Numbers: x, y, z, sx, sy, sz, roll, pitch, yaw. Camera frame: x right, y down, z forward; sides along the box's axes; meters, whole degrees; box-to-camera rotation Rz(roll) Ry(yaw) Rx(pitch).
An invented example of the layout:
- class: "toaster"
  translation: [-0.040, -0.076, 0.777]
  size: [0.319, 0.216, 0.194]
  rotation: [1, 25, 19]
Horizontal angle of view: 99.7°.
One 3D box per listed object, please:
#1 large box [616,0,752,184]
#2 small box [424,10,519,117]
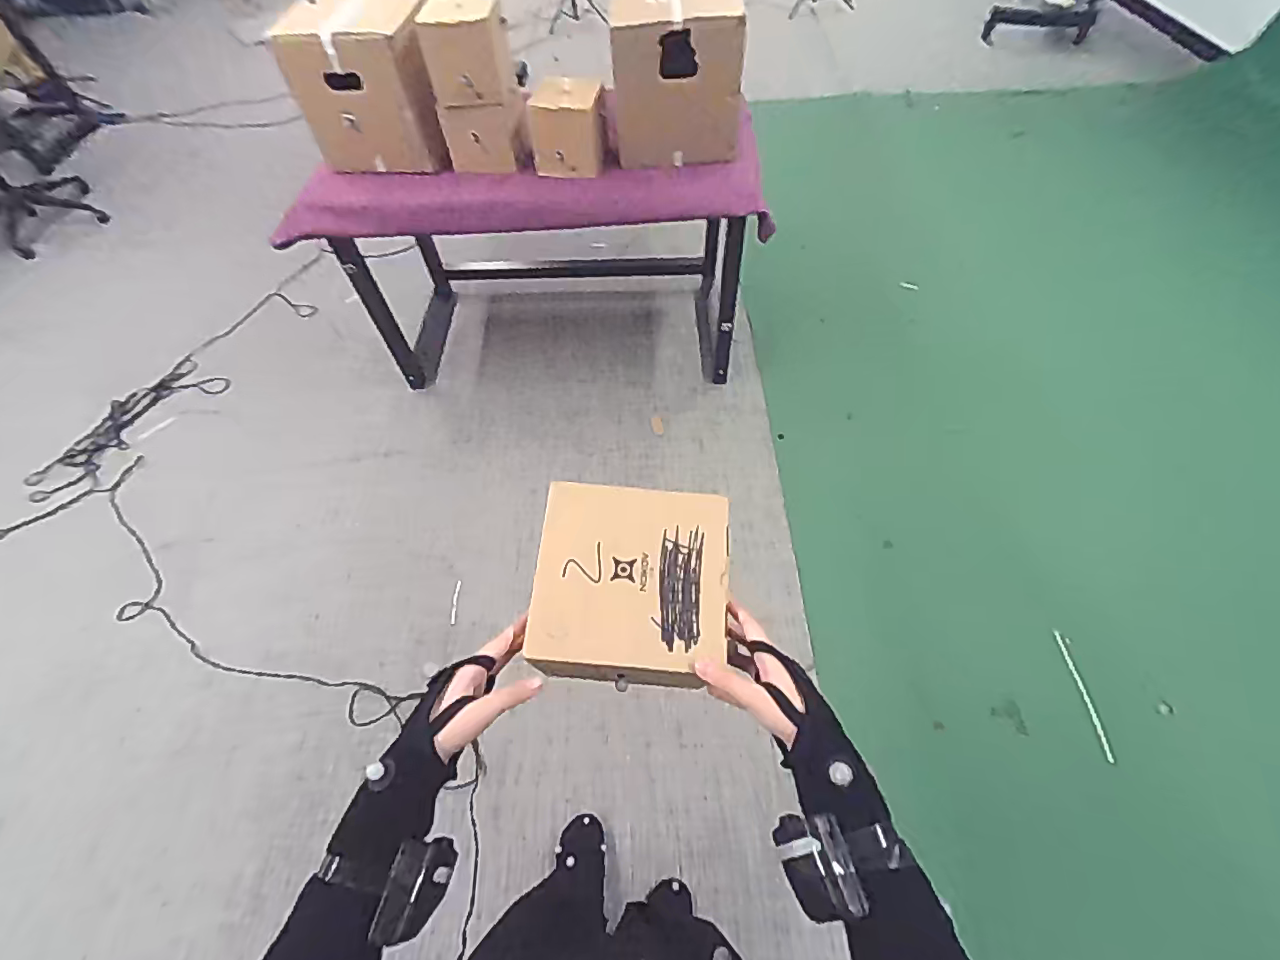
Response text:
- class: "large box"
  translation: [0.105, -1.061, 1.449]
  size: [0.320, 0.320, 0.408]
  rotation: [-3, 57, 4]
- class: "small box"
  translation: [-0.401, -1.018, 1.325]
  size: [0.168, 0.176, 0.179]
  rotation: [-1, 56, 3]
